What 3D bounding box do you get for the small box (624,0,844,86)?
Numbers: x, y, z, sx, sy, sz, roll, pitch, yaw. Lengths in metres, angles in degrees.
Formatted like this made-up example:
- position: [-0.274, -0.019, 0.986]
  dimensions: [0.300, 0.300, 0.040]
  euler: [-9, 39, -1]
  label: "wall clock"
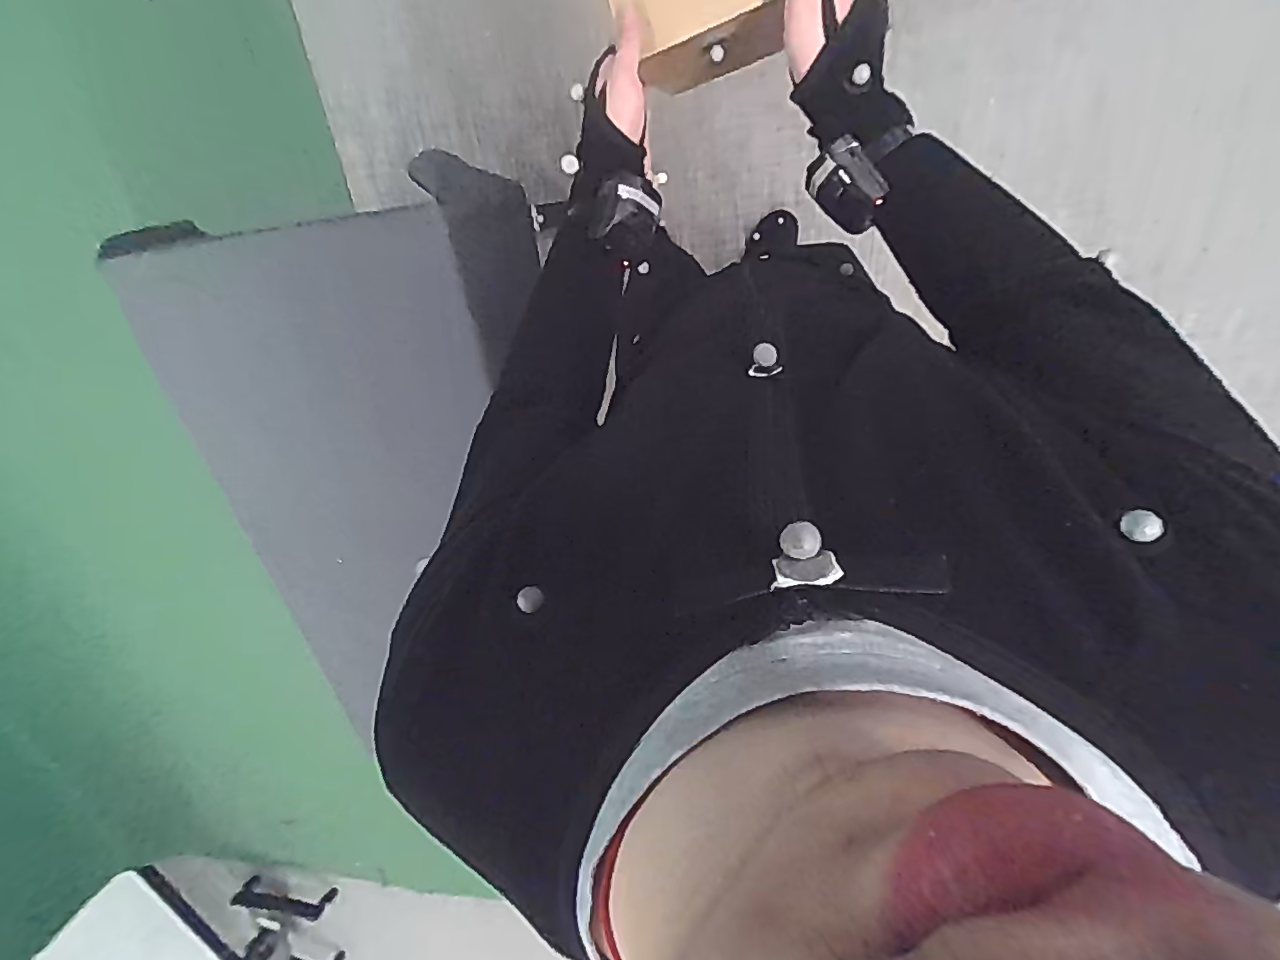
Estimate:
- position: [0.076, -0.464, 0.452]
  dimensions: [0.179, 0.176, 0.168]
  euler: [-9, 114, 19]
  label: "small box"
